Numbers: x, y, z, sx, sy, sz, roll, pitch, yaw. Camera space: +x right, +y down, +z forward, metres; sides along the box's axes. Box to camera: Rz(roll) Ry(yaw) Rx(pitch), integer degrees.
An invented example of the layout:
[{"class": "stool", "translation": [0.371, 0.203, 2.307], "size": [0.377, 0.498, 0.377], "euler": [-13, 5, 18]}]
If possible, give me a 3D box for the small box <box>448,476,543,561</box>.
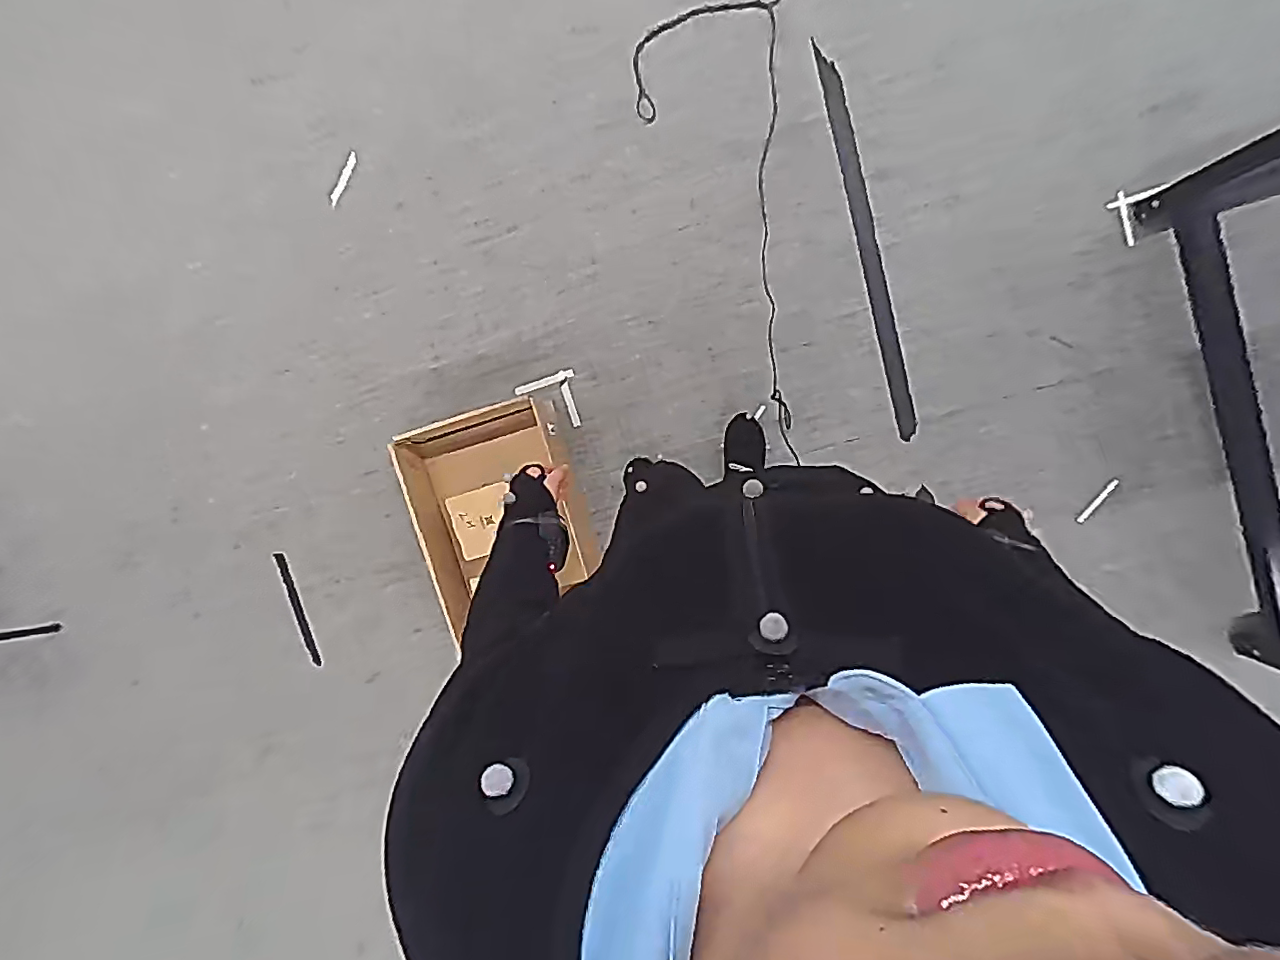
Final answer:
[{"class": "small box", "translation": [-0.367, 0.094, 1.420], "size": [0.179, 0.176, 0.168], "euler": [-17, 94, 6]}]
